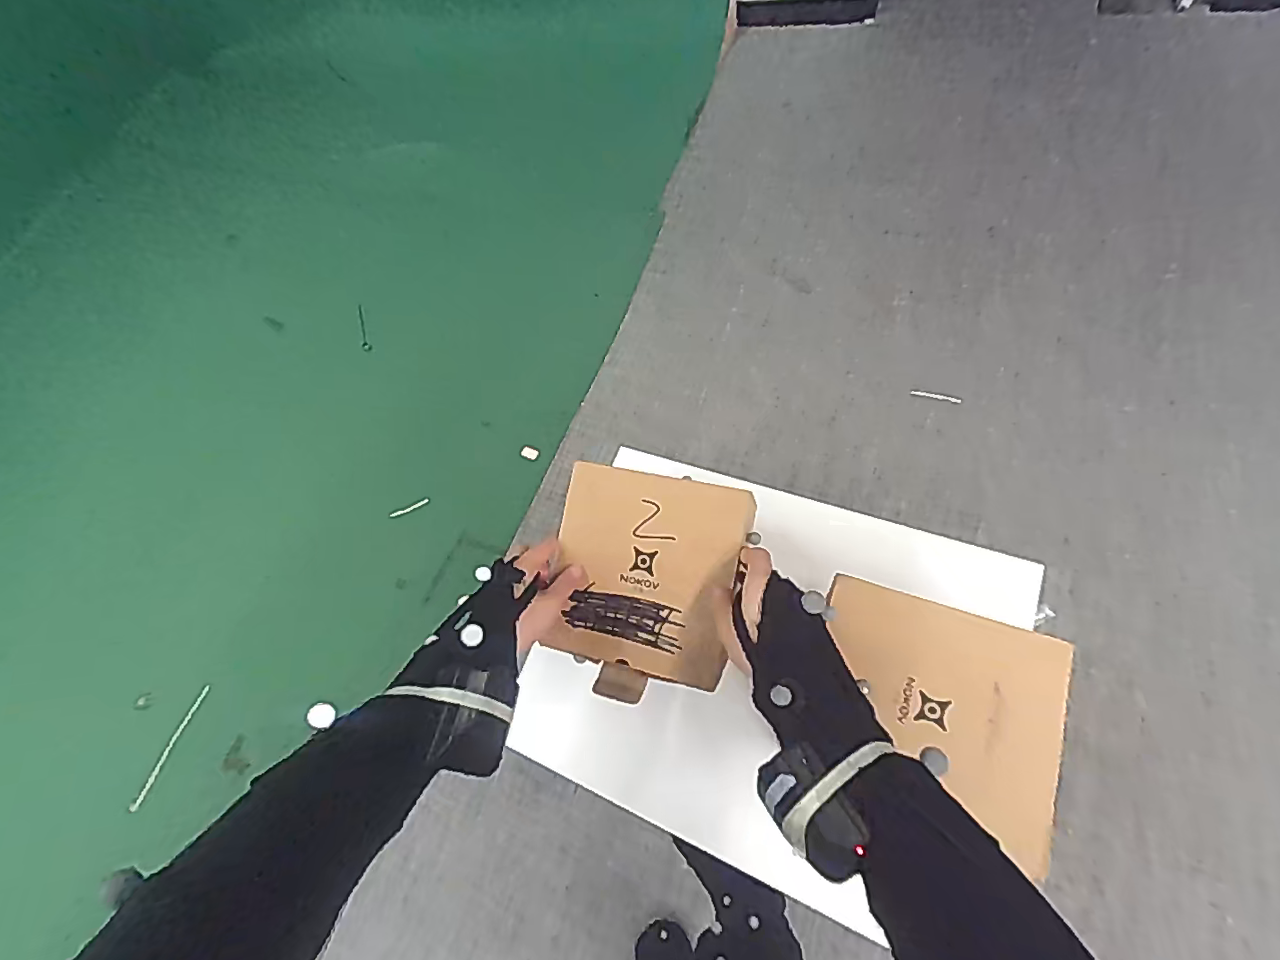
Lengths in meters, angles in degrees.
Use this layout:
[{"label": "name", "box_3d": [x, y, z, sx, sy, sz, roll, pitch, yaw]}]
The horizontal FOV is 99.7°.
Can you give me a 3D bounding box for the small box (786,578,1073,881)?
[{"label": "small box", "box_3d": [0.236, 0.206, 0.480, 0.179, 0.176, 0.168, 15, 72, 19]}]
